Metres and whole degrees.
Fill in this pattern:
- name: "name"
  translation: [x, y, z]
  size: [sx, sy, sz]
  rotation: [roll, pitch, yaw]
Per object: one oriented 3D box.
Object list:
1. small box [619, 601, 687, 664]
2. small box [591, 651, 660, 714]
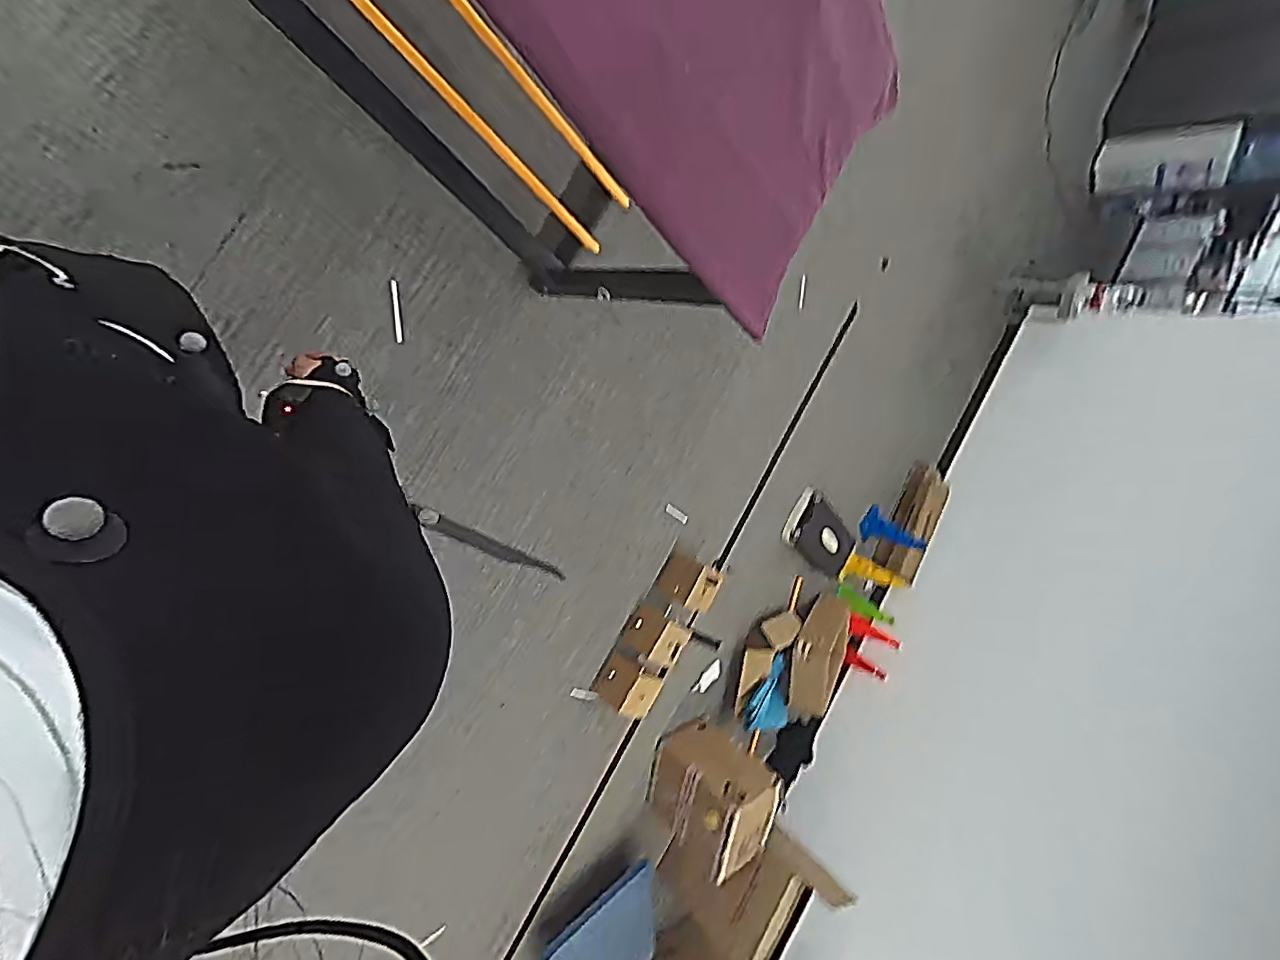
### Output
- name: "small box"
  translation: [0.051, 0.611, 2.181]
  size: [0.179, 0.176, 0.168]
  rotation: [38, 80, -44]
- name: "small box"
  translation: [-0.060, 0.809, 2.165]
  size: [0.179, 0.176, 0.168]
  rotation: [36, 82, -45]
